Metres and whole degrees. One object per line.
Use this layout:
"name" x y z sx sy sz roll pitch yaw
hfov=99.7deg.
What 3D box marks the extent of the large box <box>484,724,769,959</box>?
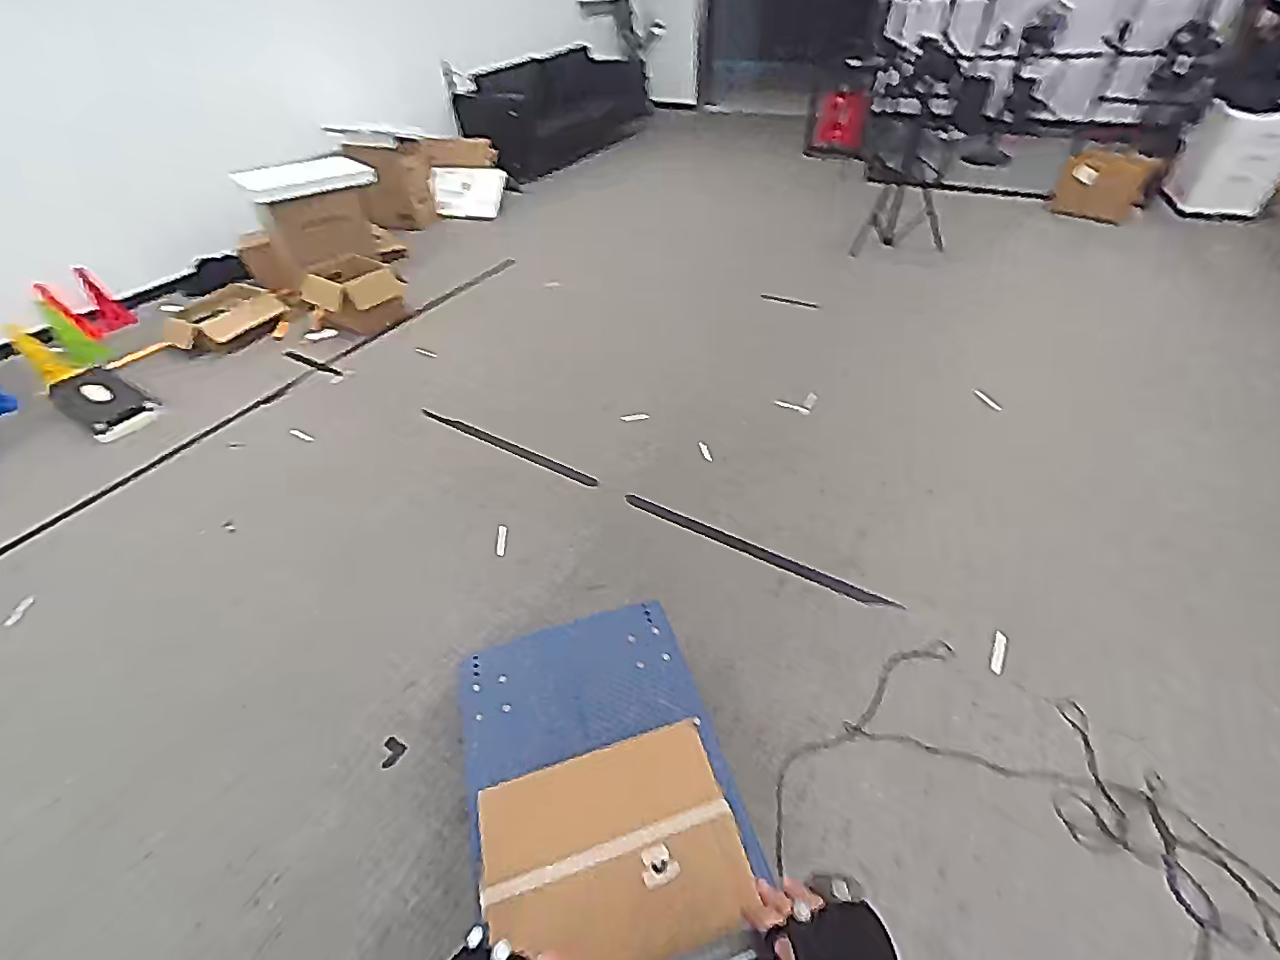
"large box" -0.032 0.714 0.975 0.408 0.320 0.320 -14 45 -11
